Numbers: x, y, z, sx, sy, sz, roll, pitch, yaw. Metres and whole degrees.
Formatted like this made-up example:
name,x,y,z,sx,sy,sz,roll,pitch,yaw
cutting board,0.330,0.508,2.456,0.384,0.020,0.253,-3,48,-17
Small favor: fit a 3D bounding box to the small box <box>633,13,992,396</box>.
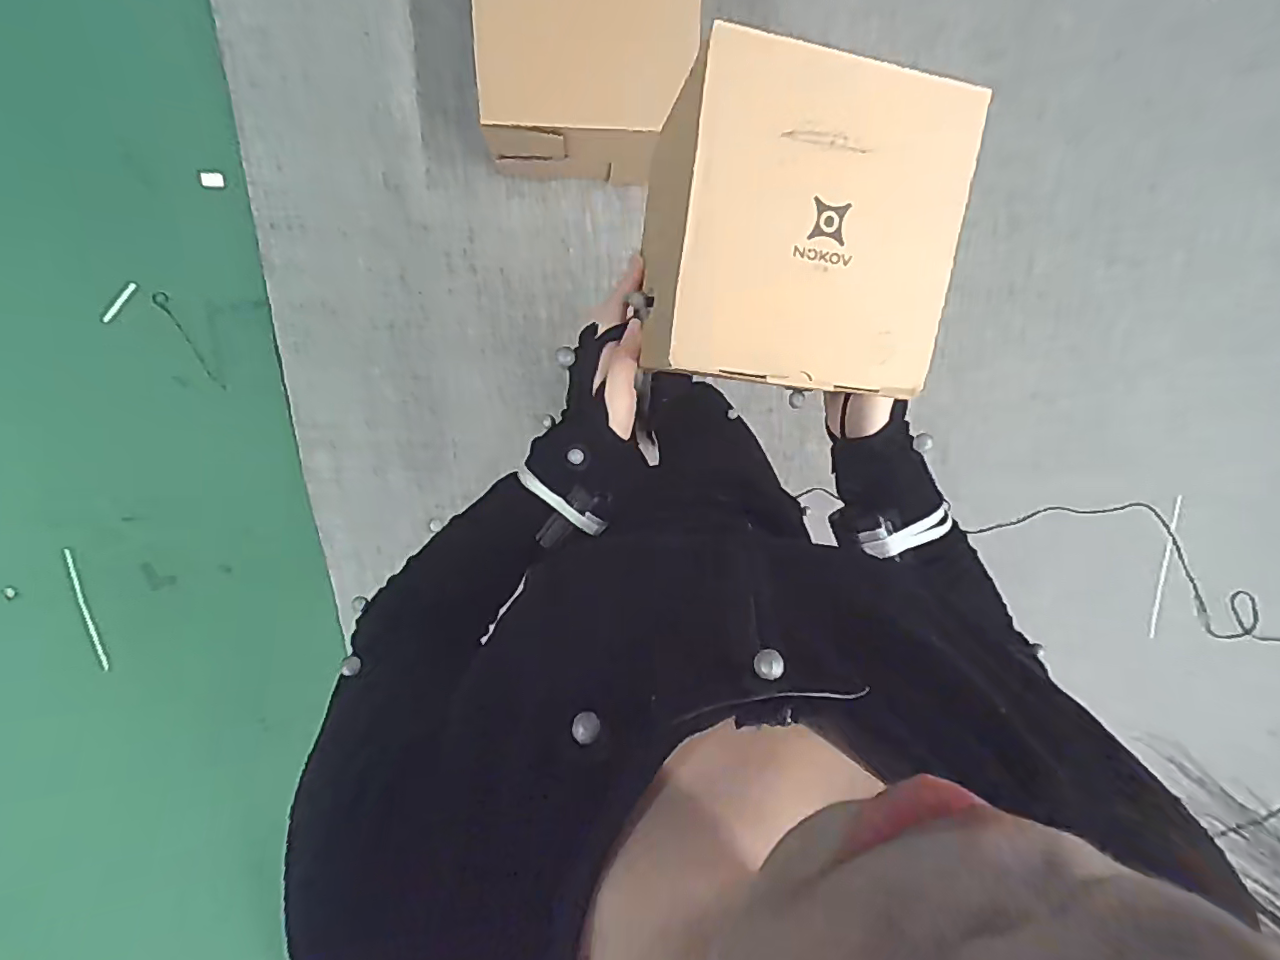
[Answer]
name,x,y,z,sx,sy,sz,roll,pitch,yaw
small box,0.093,-0.161,0.380,0.168,0.176,0.179,6,101,-11
